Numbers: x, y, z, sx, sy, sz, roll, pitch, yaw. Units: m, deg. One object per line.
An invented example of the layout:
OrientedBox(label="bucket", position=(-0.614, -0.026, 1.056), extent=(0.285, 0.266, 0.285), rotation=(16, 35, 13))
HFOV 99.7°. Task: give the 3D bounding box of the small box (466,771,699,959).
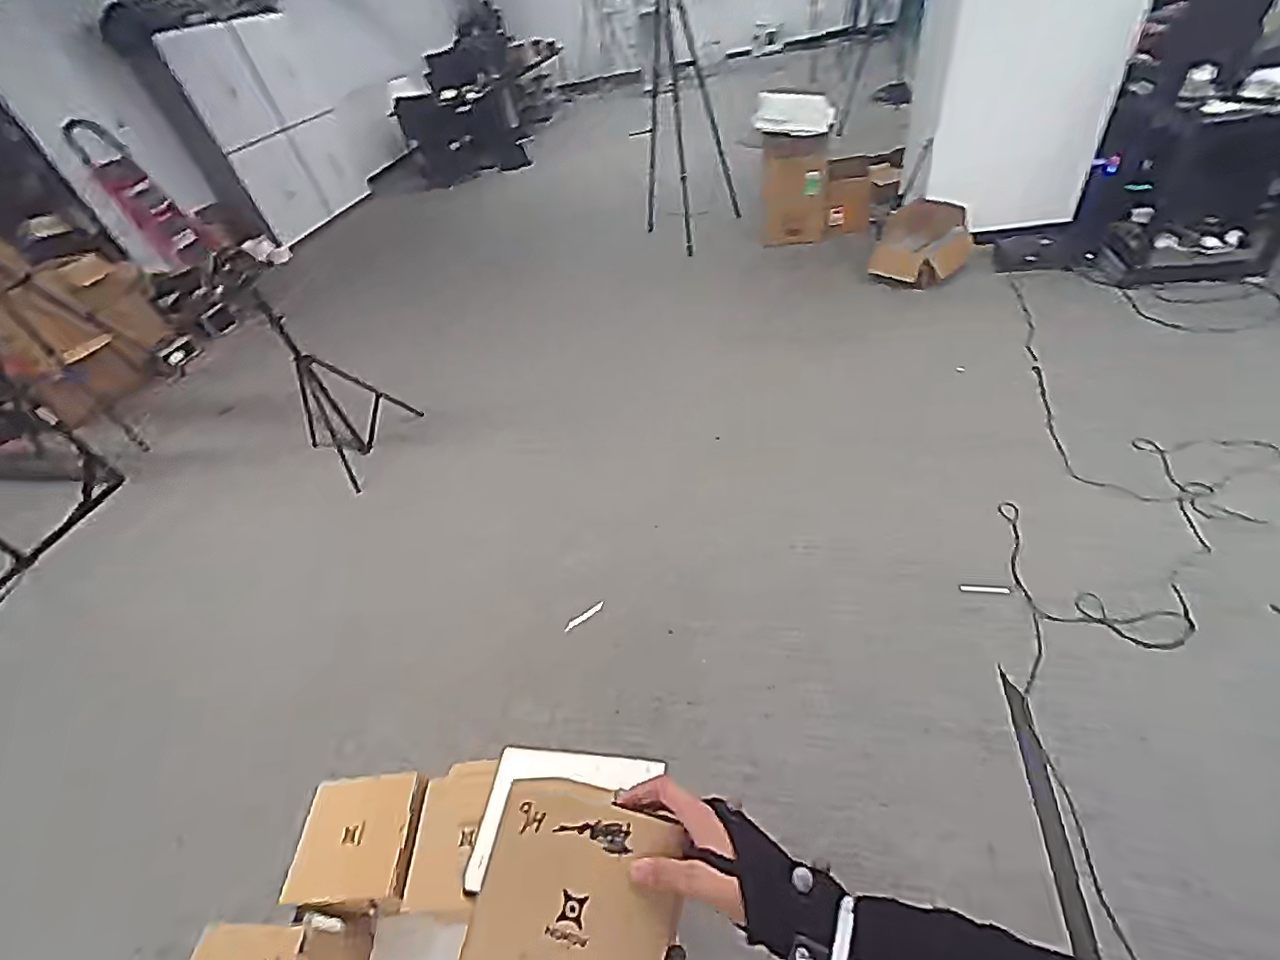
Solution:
OrientedBox(label="small box", position=(-0.040, 0.396, 0.517), extent=(0.168, 0.176, 0.179), rotation=(9, 64, 14))
